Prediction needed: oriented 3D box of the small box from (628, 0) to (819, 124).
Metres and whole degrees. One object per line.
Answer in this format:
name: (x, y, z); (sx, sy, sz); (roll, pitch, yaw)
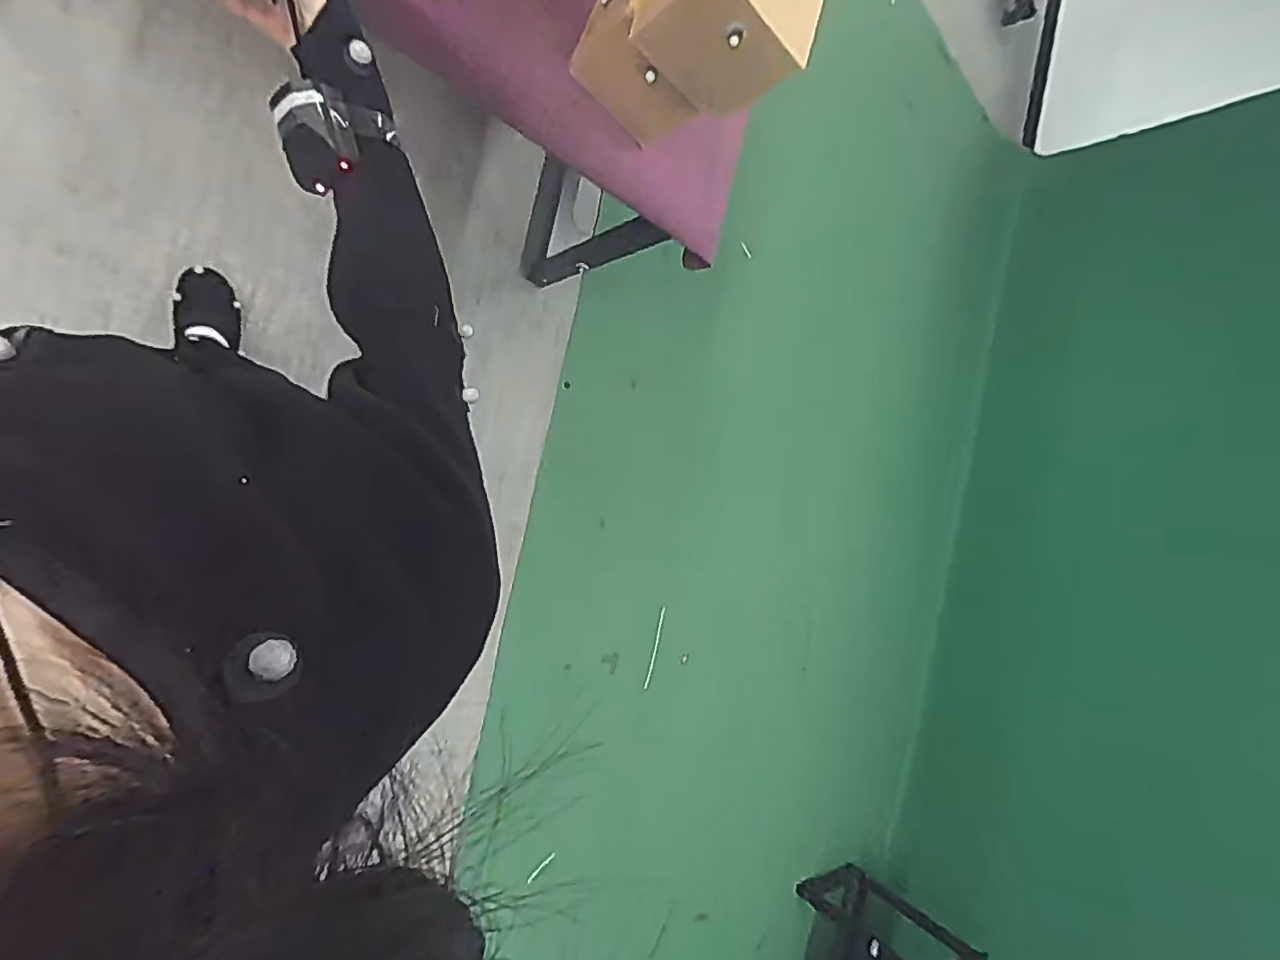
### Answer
small box: (0.111, -0.621, 0.714); (0.179, 0.176, 0.168); (21, 82, -37)

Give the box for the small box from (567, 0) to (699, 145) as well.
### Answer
small box: (0.018, -0.665, 0.845); (0.179, 0.176, 0.168); (28, 78, -36)
